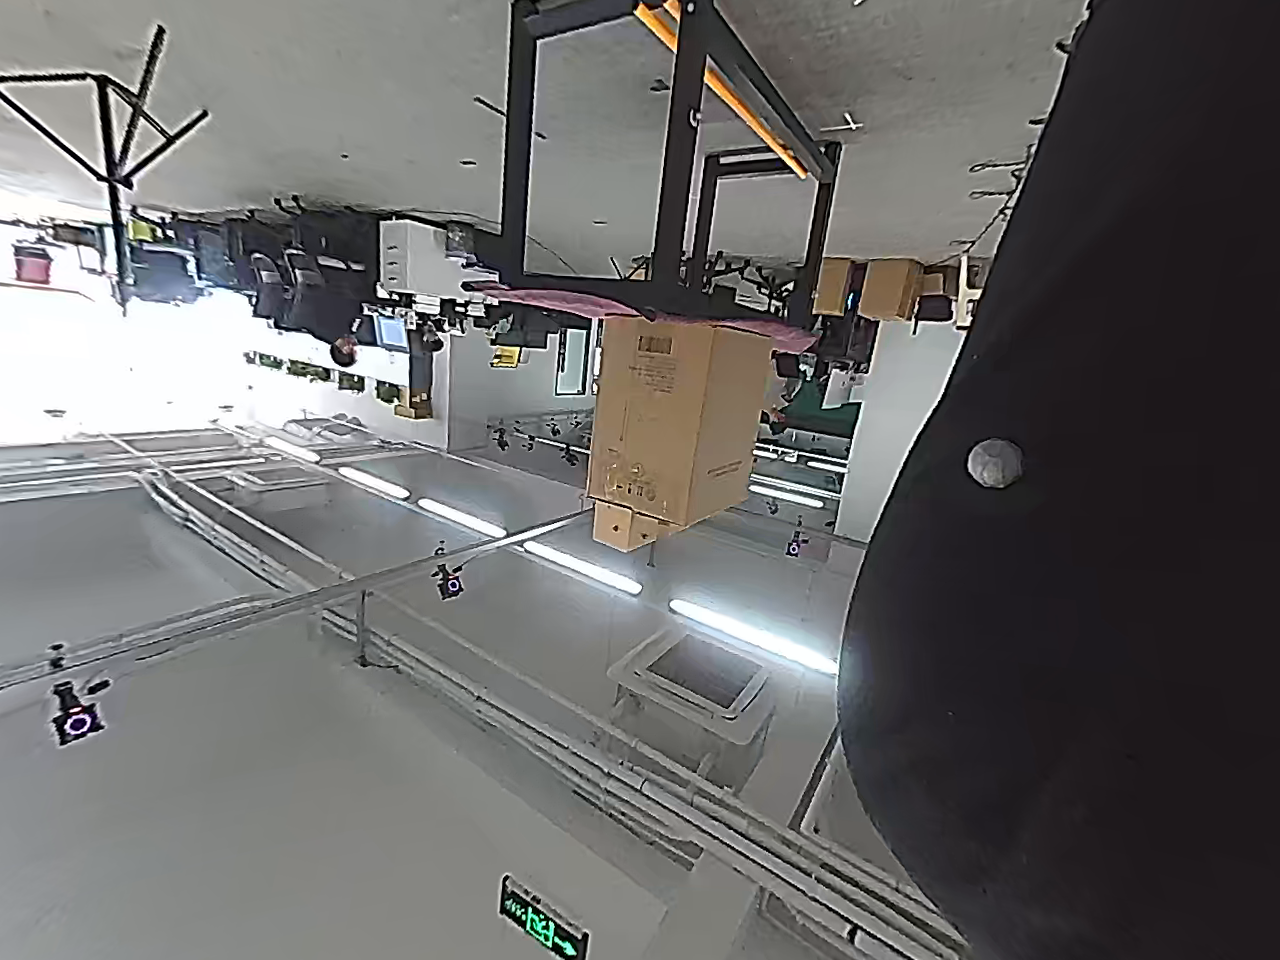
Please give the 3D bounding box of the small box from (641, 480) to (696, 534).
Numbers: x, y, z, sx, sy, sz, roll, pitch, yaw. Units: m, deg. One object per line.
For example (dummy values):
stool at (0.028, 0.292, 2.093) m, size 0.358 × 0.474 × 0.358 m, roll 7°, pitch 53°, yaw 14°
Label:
small box at (0.109, 0.100, 2.158) m, size 0.168 × 0.176 × 0.179 m, roll 14°, pitch -166°, yaw 32°

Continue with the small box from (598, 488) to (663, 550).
small box at (-0.035, 0.133, 1.964) m, size 0.168 × 0.176 × 0.179 m, roll 17°, pitch -160°, yaw 35°
